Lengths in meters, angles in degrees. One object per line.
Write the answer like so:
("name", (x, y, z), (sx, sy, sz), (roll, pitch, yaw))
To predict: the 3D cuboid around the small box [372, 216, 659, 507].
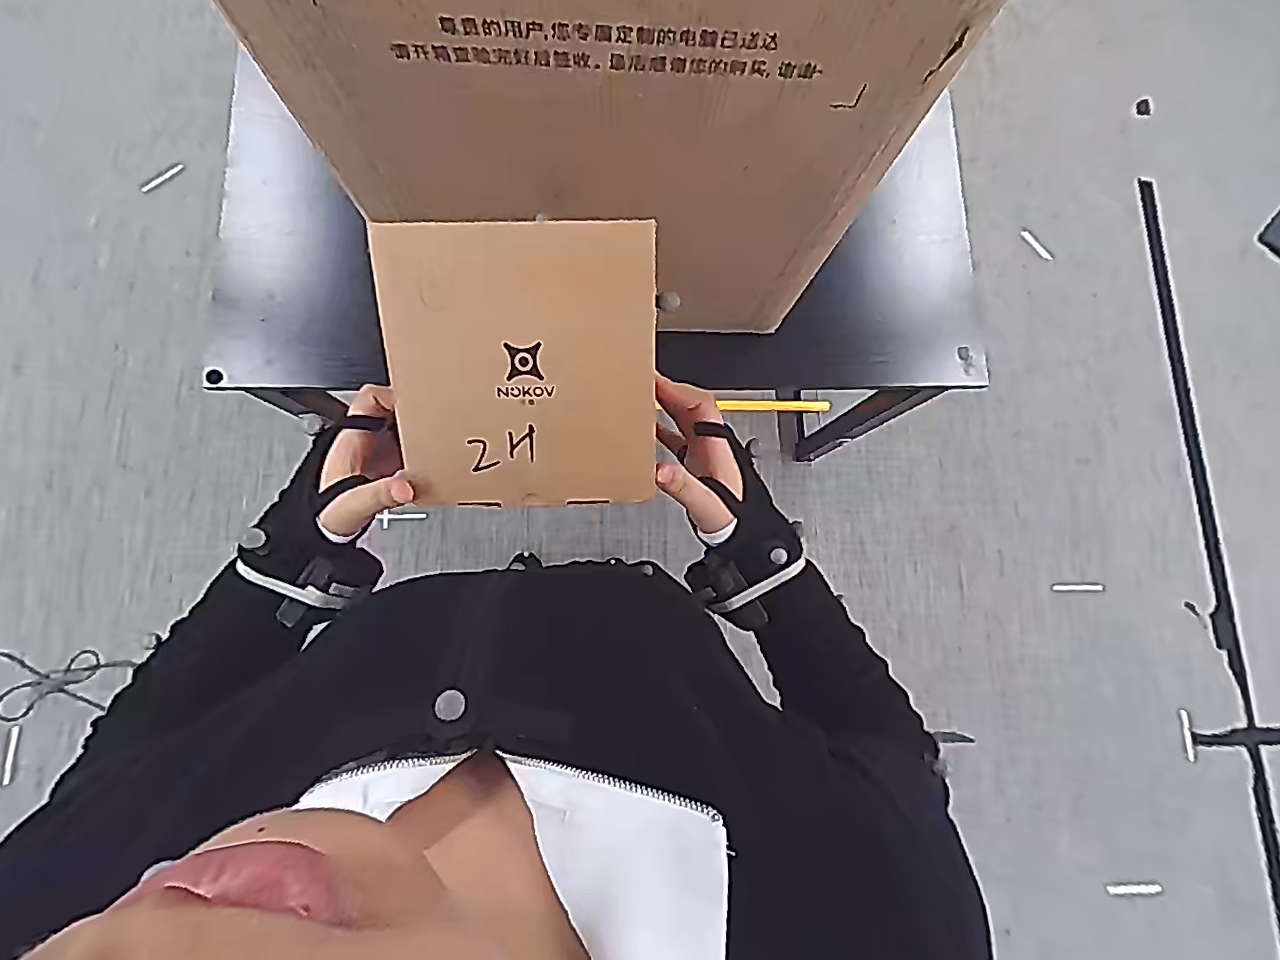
("small box", (-0.073, -0.090, 0.408), (0.168, 0.176, 0.179), (-1, 108, -1))
